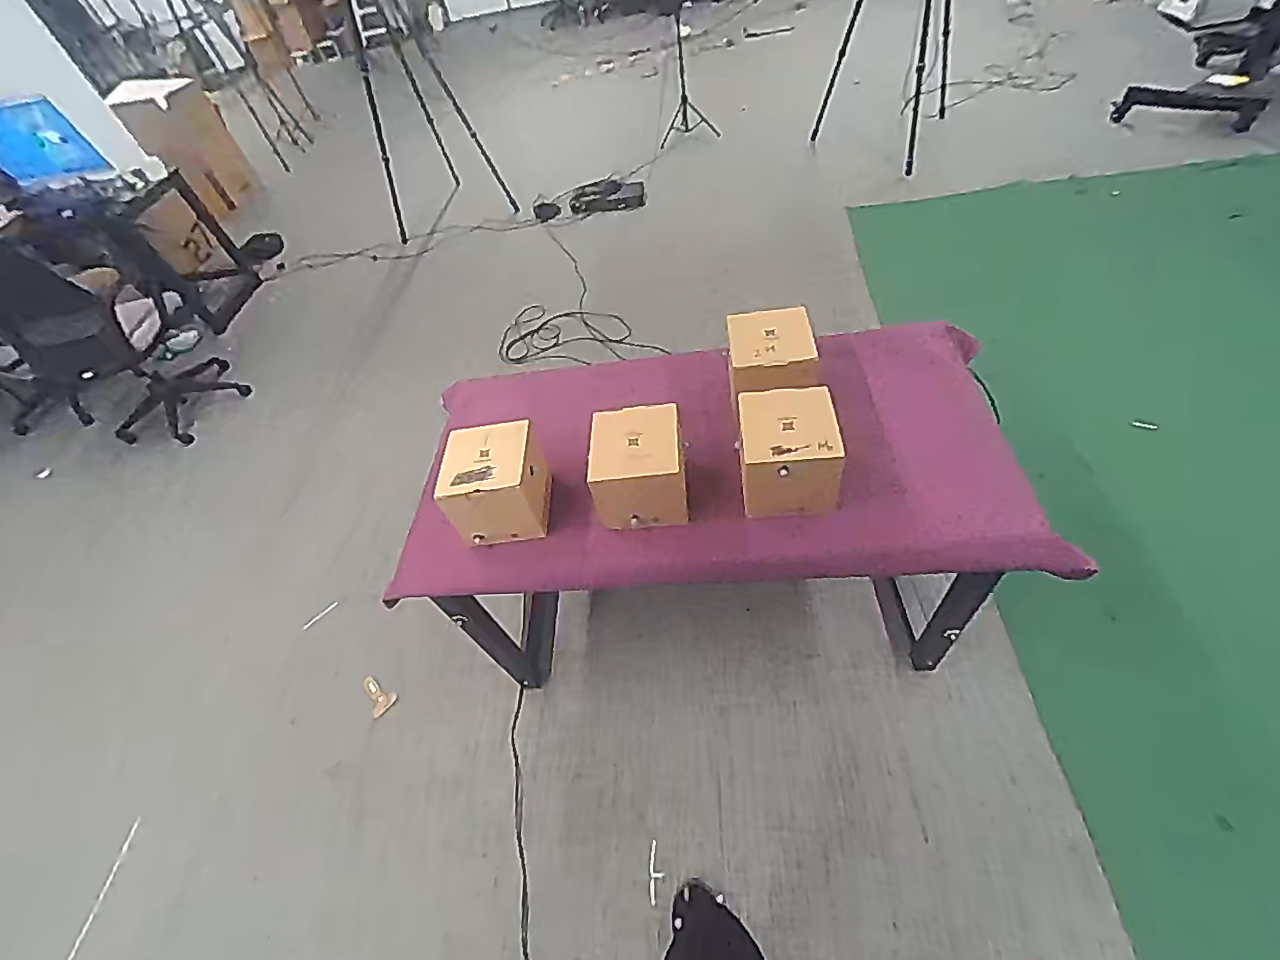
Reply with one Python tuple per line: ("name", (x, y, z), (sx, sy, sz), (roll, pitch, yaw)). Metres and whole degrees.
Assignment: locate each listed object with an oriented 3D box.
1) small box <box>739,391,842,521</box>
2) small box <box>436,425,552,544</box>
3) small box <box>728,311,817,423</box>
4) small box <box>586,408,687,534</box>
("small box", (0.273, -0.043, 1.017), (0.168, 0.176, 0.179), (-4, 51, 10))
("small box", (-0.282, 0.017, 1.092), (0.168, 0.176, 0.179), (-8, 49, 6))
("small box", (0.280, -0.238, 1.170), (0.168, 0.176, 0.179), (-5, 52, 10))
("small box", (0.001, -0.015, 1.058), (0.168, 0.176, 0.179), (-6, 52, 9))
